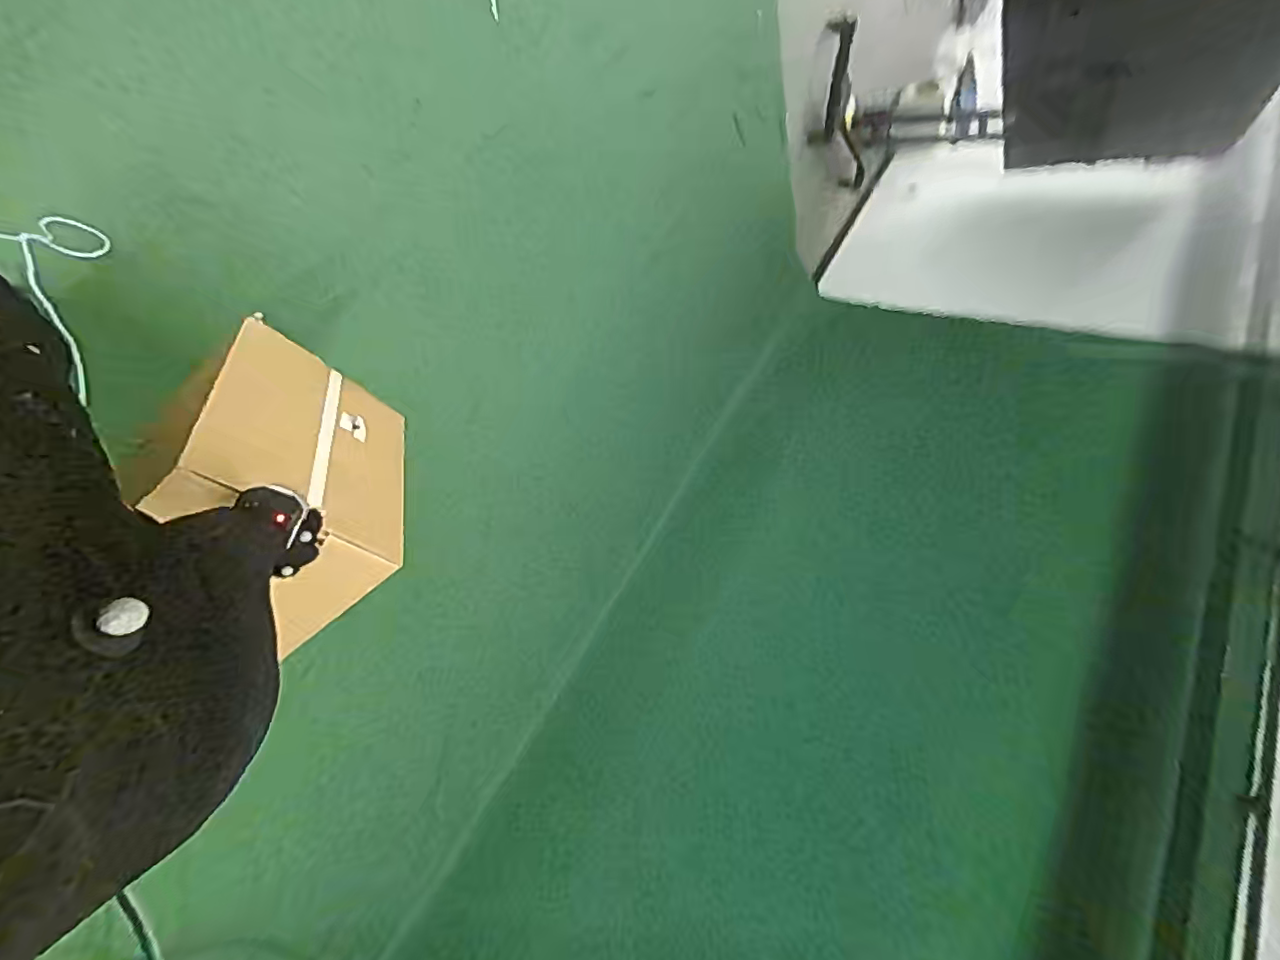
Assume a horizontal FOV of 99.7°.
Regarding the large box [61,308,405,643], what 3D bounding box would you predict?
[{"bbox_3d":[-0.633,-0.002,0.912,0.320,0.408,0.320,-37,135,12],"label":"large box"}]
